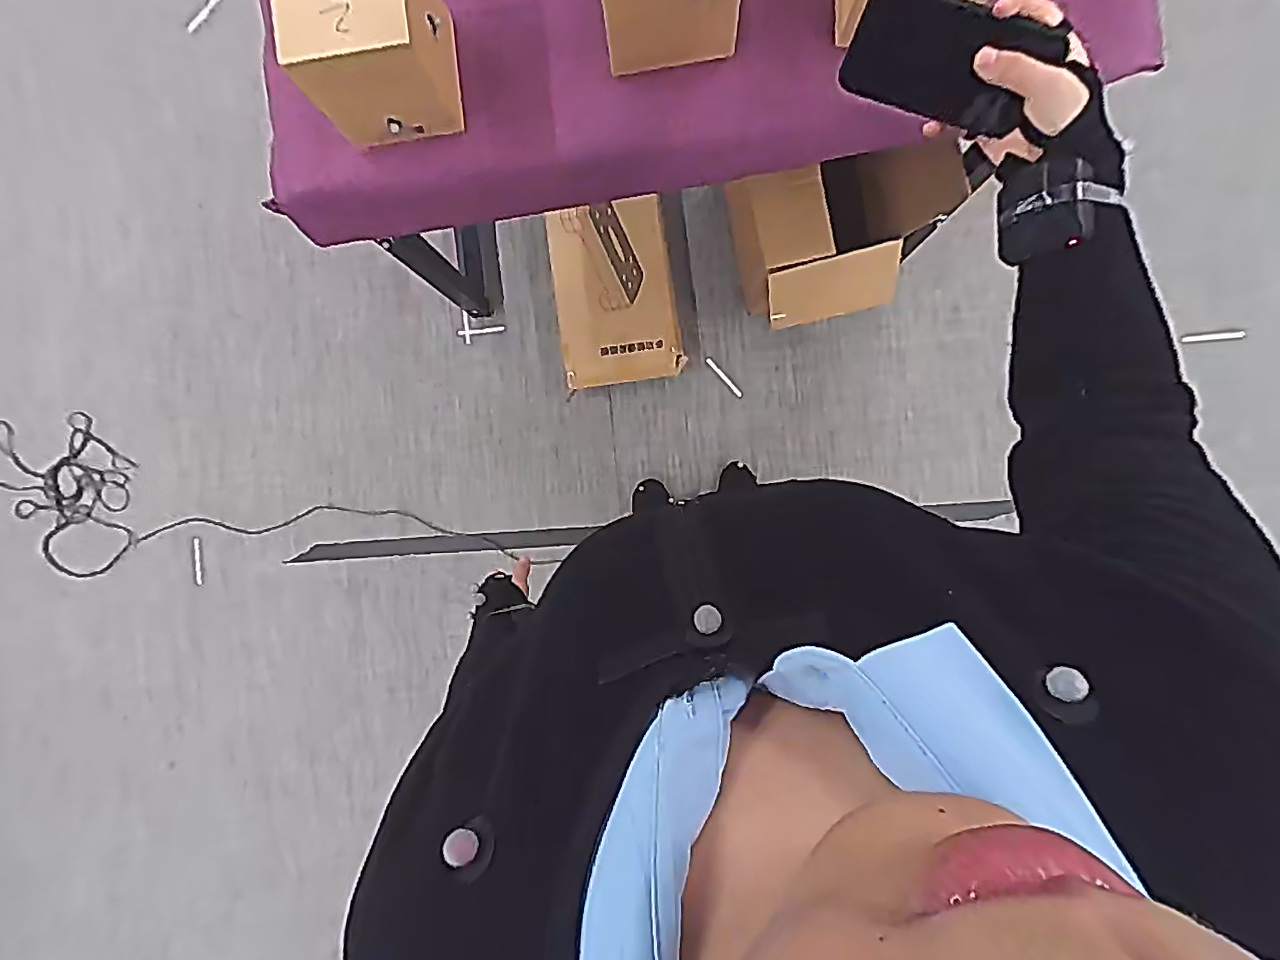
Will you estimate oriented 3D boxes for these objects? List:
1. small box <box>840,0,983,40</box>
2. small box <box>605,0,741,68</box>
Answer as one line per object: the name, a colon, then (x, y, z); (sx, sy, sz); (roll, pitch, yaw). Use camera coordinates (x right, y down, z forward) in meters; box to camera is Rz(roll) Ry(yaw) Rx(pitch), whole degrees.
small box: (0.355, -0.686, 0.664); (0.179, 0.176, 0.168); (0, 91, 3)
small box: (0.037, -0.671, 0.683); (0.179, 0.176, 0.168); (-7, 88, 4)
